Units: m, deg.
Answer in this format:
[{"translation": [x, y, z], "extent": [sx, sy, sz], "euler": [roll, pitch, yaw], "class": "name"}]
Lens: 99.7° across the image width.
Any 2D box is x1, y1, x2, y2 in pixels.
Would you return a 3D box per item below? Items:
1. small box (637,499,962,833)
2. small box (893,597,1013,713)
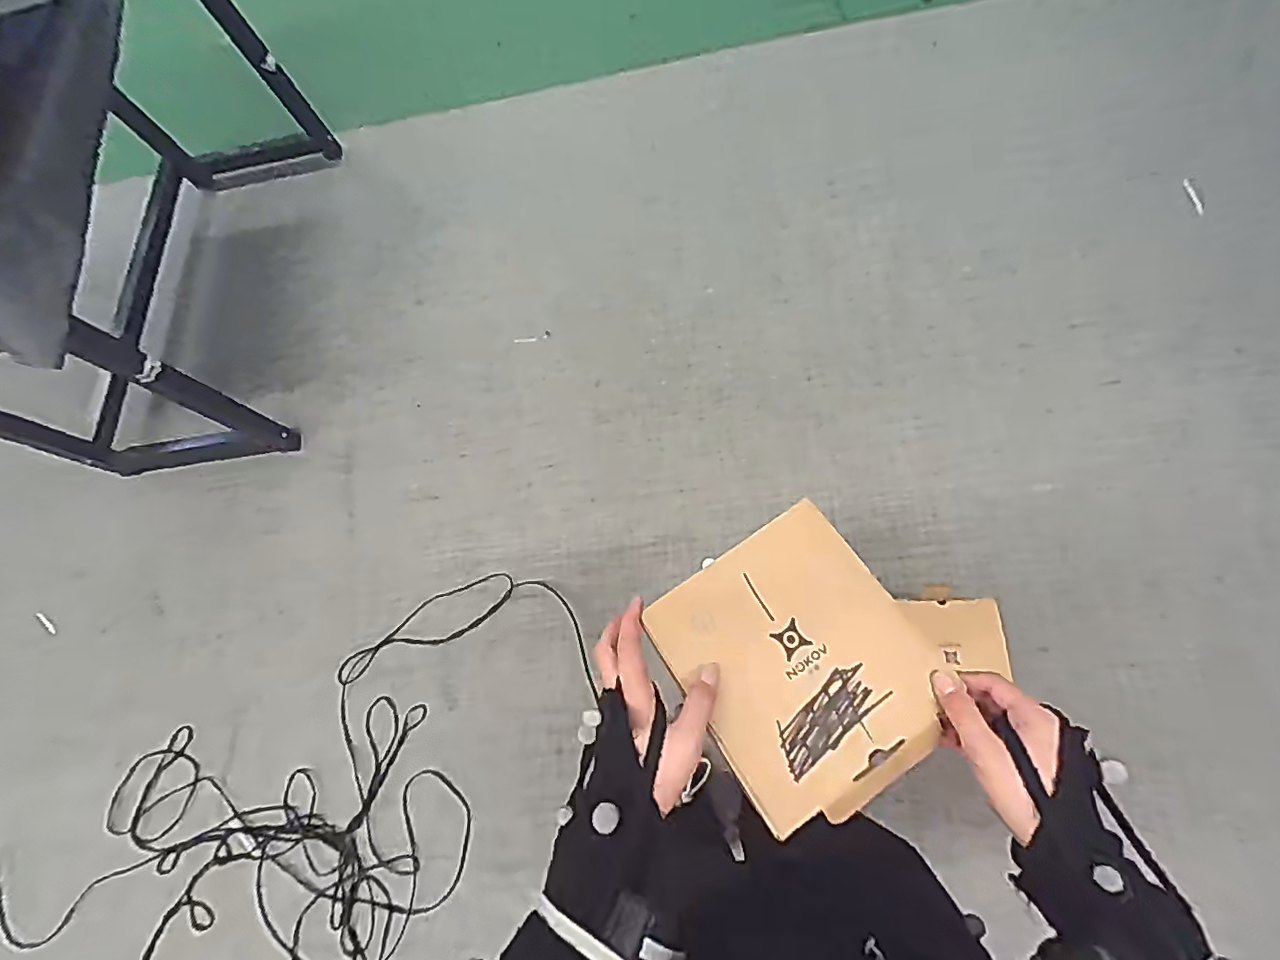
[{"translation": [0.114, 0.148, 0.462], "extent": [0.168, 0.176, 0.179], "euler": [-33, 71, -10], "class": "small box"}, {"translation": [0.499, 0.299, 0.931], "extent": [0.168, 0.176, 0.179], "euler": [-3, 71, 8], "class": "small box"}]
